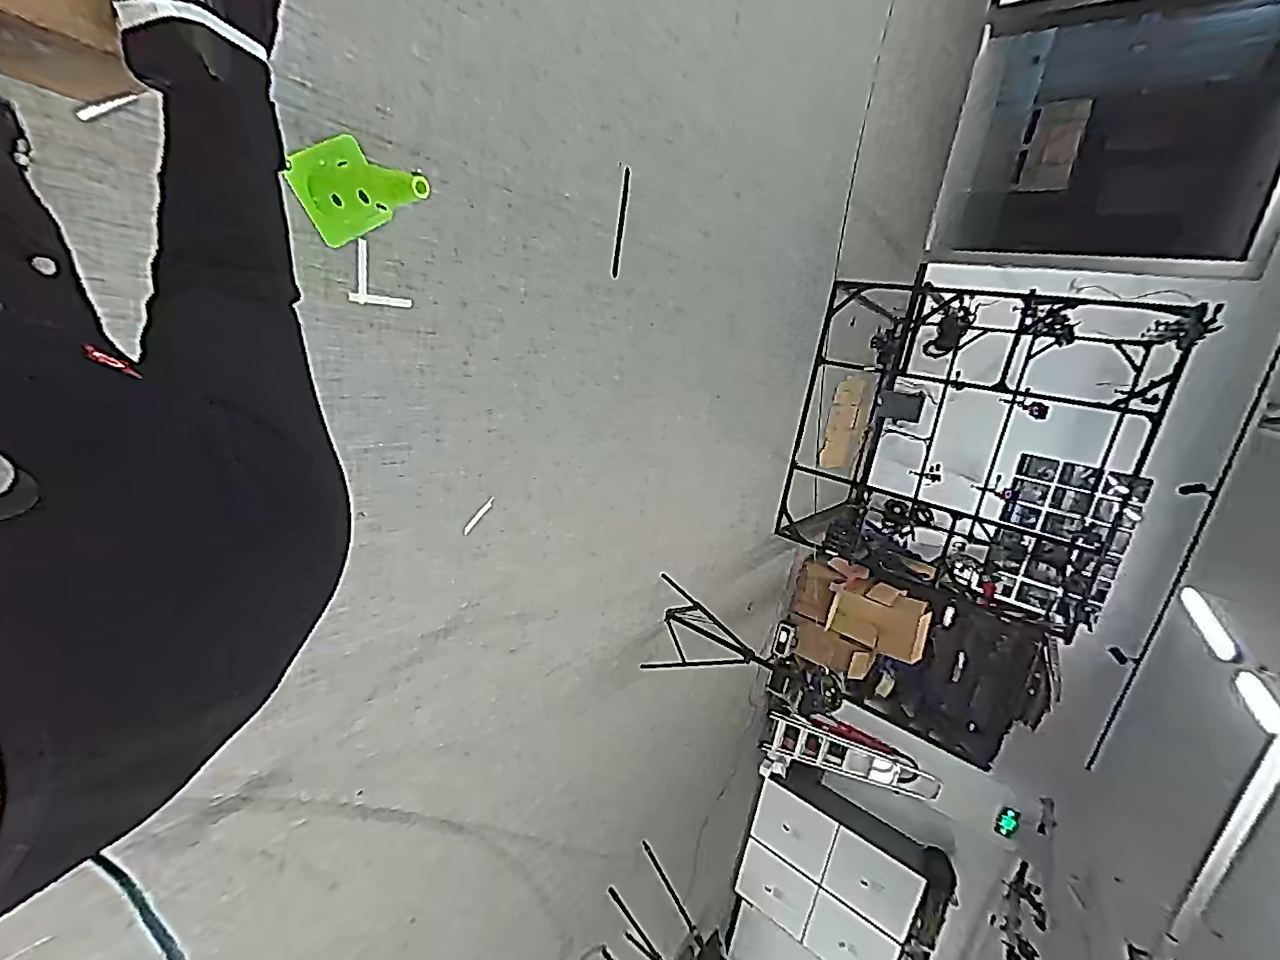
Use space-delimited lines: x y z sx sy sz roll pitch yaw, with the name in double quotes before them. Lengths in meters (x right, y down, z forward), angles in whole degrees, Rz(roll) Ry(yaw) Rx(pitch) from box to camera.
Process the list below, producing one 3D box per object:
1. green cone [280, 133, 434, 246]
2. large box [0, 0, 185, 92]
"green cone" -0.589 -0.652 1.211 0.202 0.368 0.200 -51 142 -30
"large box" -0.540 -0.481 0.286 0.408 0.320 0.320 -6 114 -53
